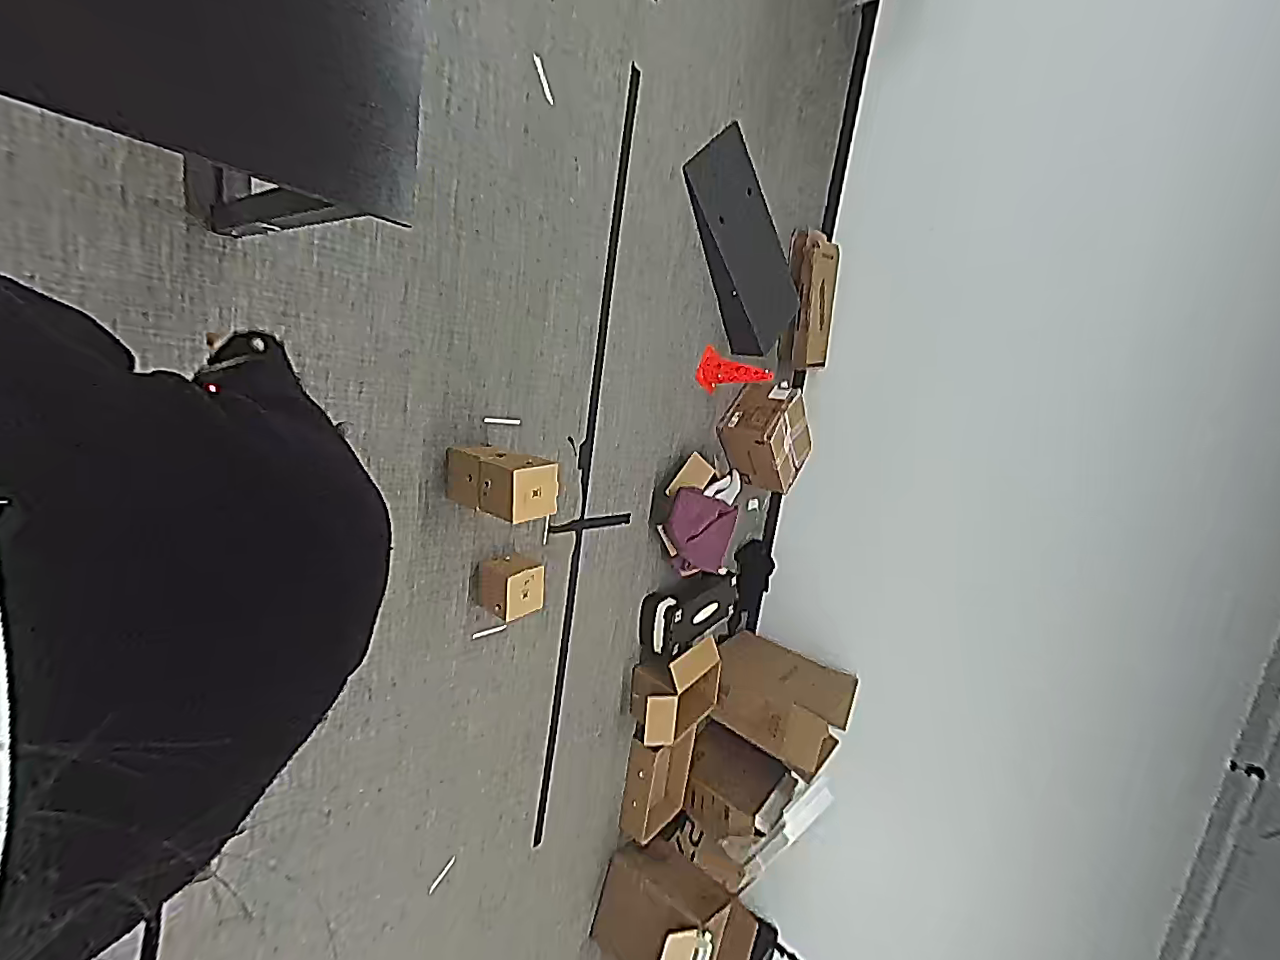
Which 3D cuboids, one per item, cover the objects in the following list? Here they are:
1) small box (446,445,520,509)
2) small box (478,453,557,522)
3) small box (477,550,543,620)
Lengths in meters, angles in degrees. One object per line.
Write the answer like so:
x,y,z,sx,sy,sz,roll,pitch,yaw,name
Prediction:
-0.511,-0.018,1.758,0.168,0.176,0.179,-9,110,-51,small box
-0.379,0.017,1.670,0.179,0.176,0.168,-13,112,-49,small box
-0.473,0.376,1.957,0.168,0.176,0.179,-13,113,-50,small box
